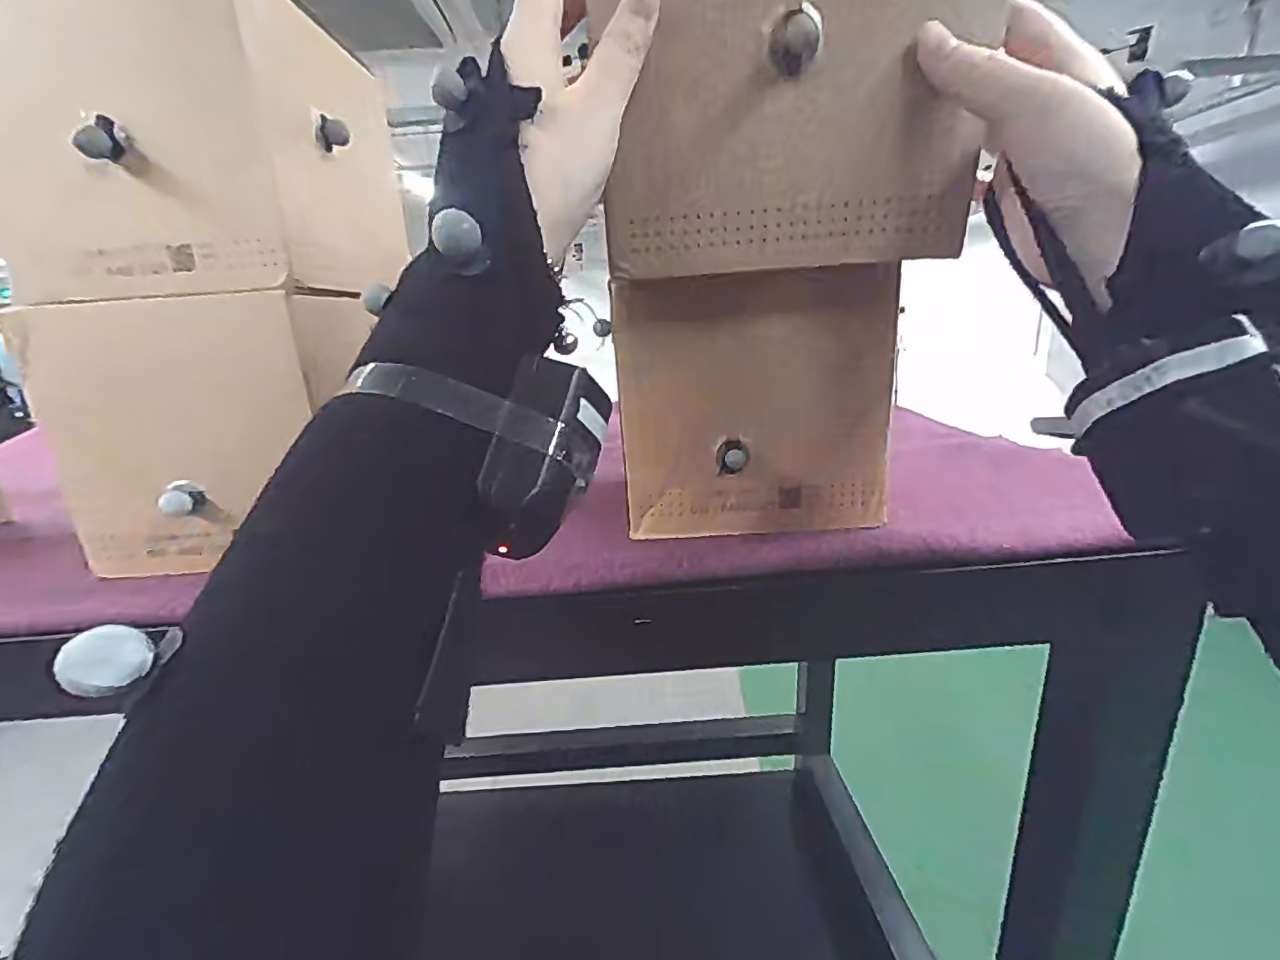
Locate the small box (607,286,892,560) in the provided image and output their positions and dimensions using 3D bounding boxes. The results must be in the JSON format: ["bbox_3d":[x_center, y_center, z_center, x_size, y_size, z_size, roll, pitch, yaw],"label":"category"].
[{"bbox_3d":[0.067,-0.052,0.411,0.168,0.176,0.179,-3,18,2],"label":"small box"}]

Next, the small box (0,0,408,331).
[{"bbox_3d":[-0.280,-0.189,0.369,0.168,0.176,0.179,-4,18,0],"label":"small box"}]
